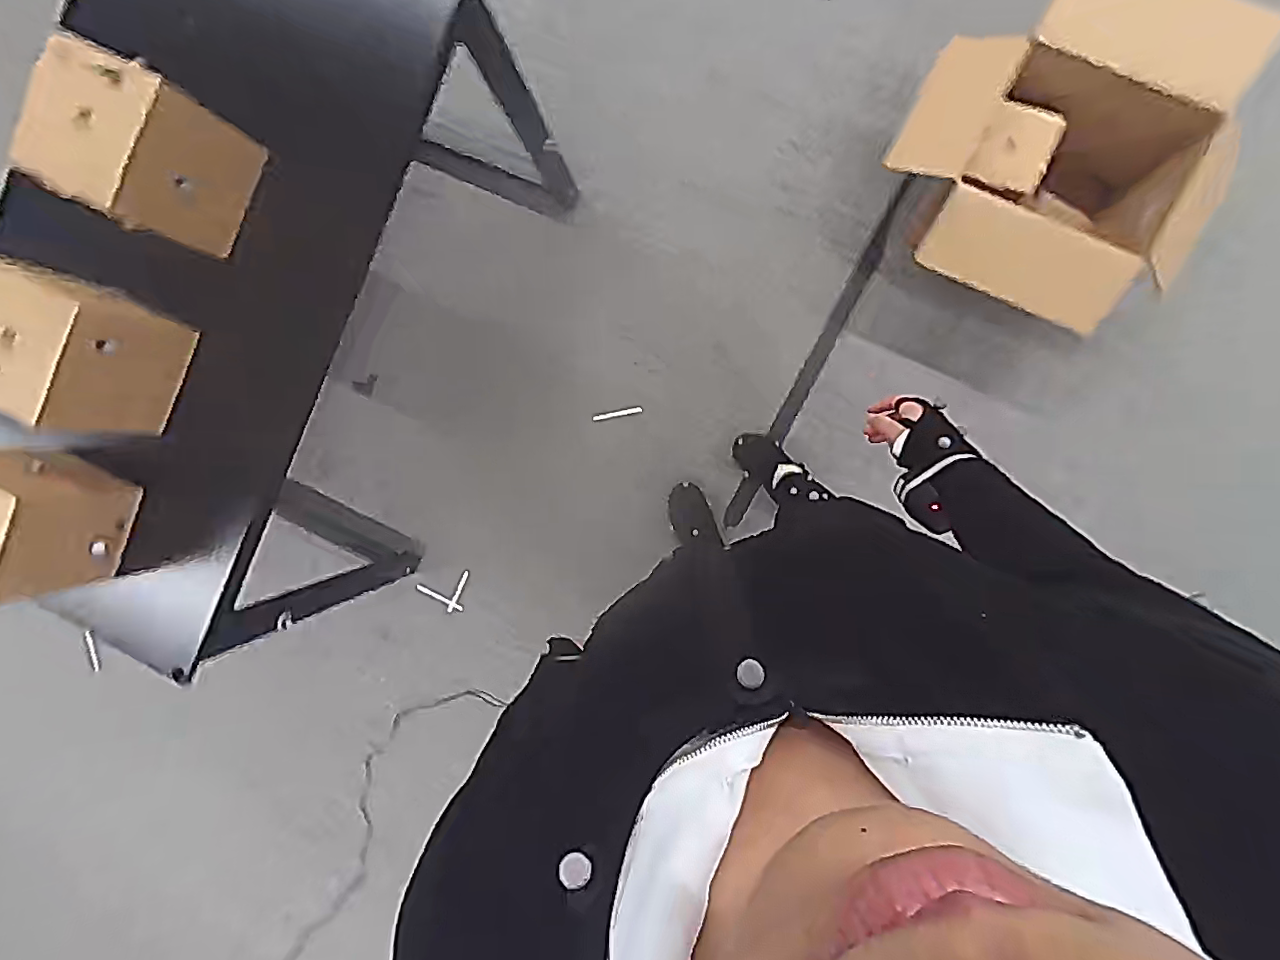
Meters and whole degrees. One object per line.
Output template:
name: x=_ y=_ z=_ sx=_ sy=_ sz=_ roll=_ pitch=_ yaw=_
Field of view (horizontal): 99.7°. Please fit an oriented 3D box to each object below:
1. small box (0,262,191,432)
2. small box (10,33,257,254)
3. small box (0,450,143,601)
small box: x=-0.807 y=-0.181 z=0.779 sx=0.168 sy=0.176 sz=0.179 roll=25 pitch=96 yaw=5
small box: x=-0.685 y=-0.447 z=0.751 sx=0.168 sy=0.176 sz=0.179 roll=27 pitch=97 yaw=4
small box: x=-0.916 y=0.061 z=0.806 sx=0.179 sy=0.176 sz=0.168 roll=23 pitch=96 yaw=4
